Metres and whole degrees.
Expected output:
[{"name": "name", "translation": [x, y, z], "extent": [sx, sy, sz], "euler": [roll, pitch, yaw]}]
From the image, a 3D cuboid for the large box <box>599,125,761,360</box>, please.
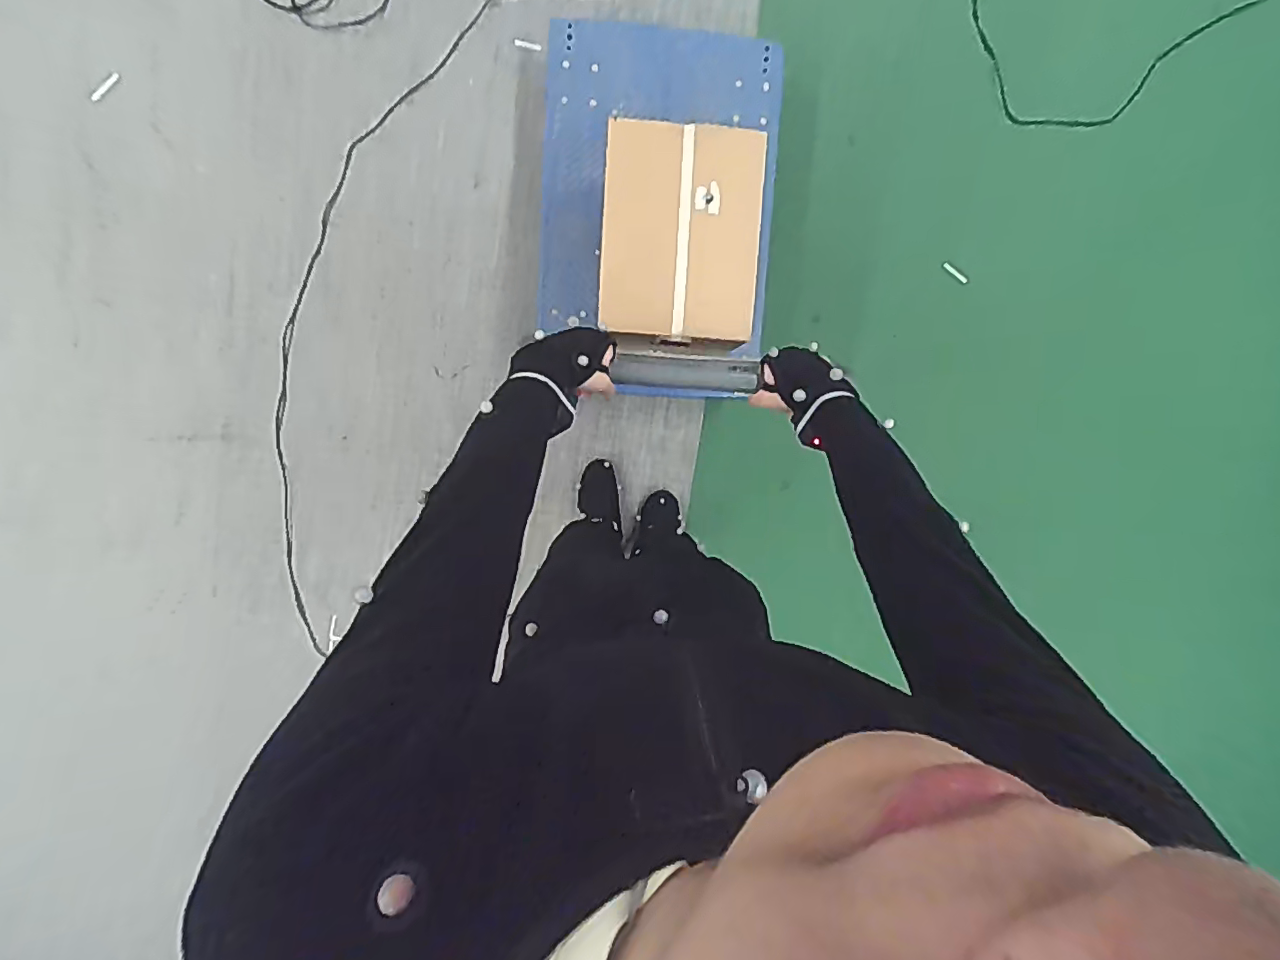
[{"name": "large box", "translation": [0.070, -0.495, 1.216], "extent": [0.320, 0.320, 0.408], "euler": [3, 95, -5]}]
